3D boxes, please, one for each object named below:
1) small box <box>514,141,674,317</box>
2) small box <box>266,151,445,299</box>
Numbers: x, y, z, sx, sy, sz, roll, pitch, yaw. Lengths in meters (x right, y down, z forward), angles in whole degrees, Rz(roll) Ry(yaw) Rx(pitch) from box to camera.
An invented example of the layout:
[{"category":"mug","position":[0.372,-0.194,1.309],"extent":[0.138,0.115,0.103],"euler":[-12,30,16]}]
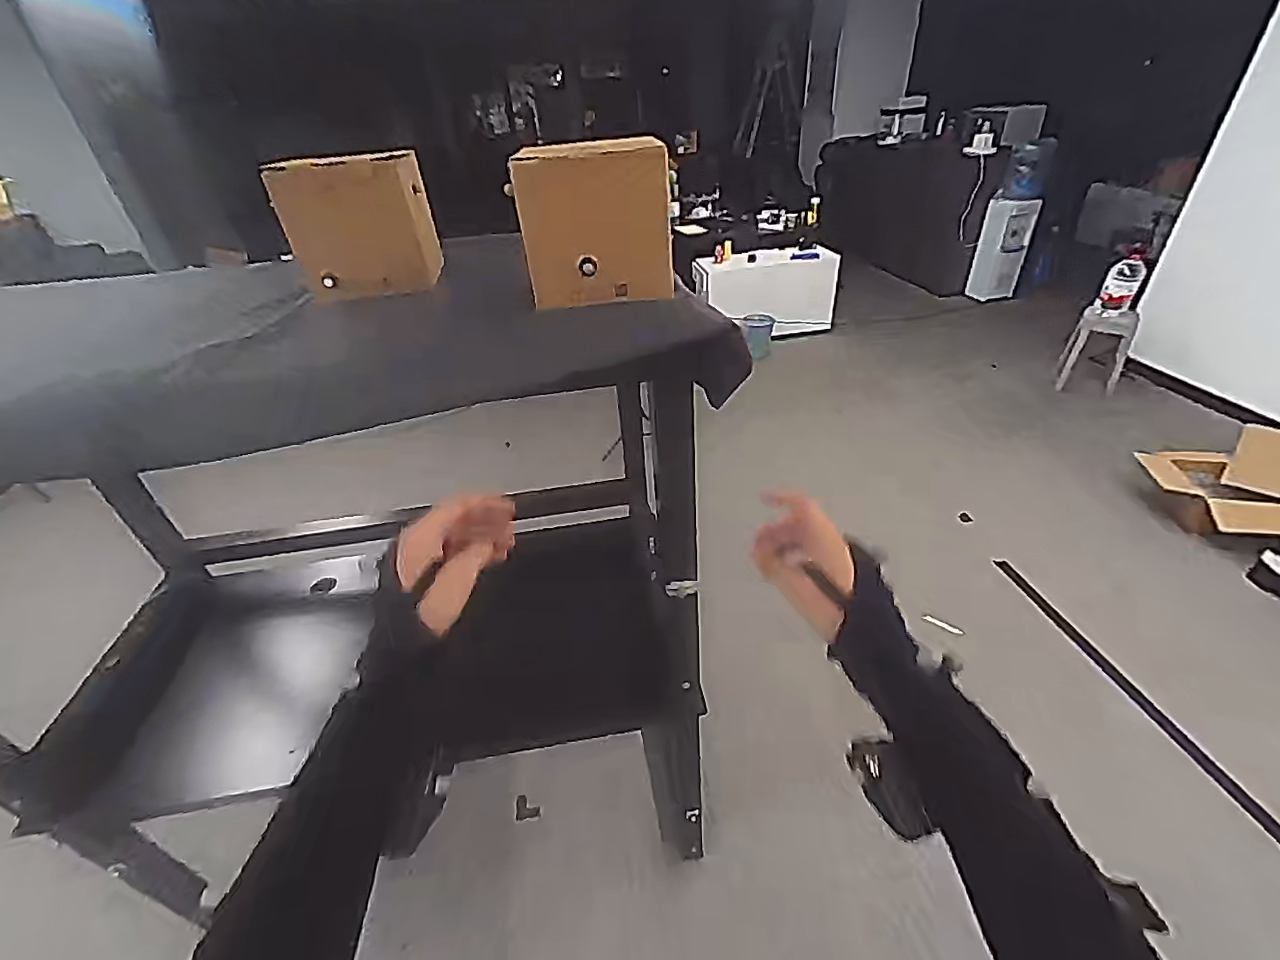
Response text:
[{"category":"small box","position":[-0.050,-0.313,0.670],"extent":[0.168,0.176,0.179],"euler":[-6,35,-1]},{"category":"small box","position":[-0.397,-0.372,0.793],"extent":[0.168,0.176,0.179],"euler":[-9,35,-7]}]
